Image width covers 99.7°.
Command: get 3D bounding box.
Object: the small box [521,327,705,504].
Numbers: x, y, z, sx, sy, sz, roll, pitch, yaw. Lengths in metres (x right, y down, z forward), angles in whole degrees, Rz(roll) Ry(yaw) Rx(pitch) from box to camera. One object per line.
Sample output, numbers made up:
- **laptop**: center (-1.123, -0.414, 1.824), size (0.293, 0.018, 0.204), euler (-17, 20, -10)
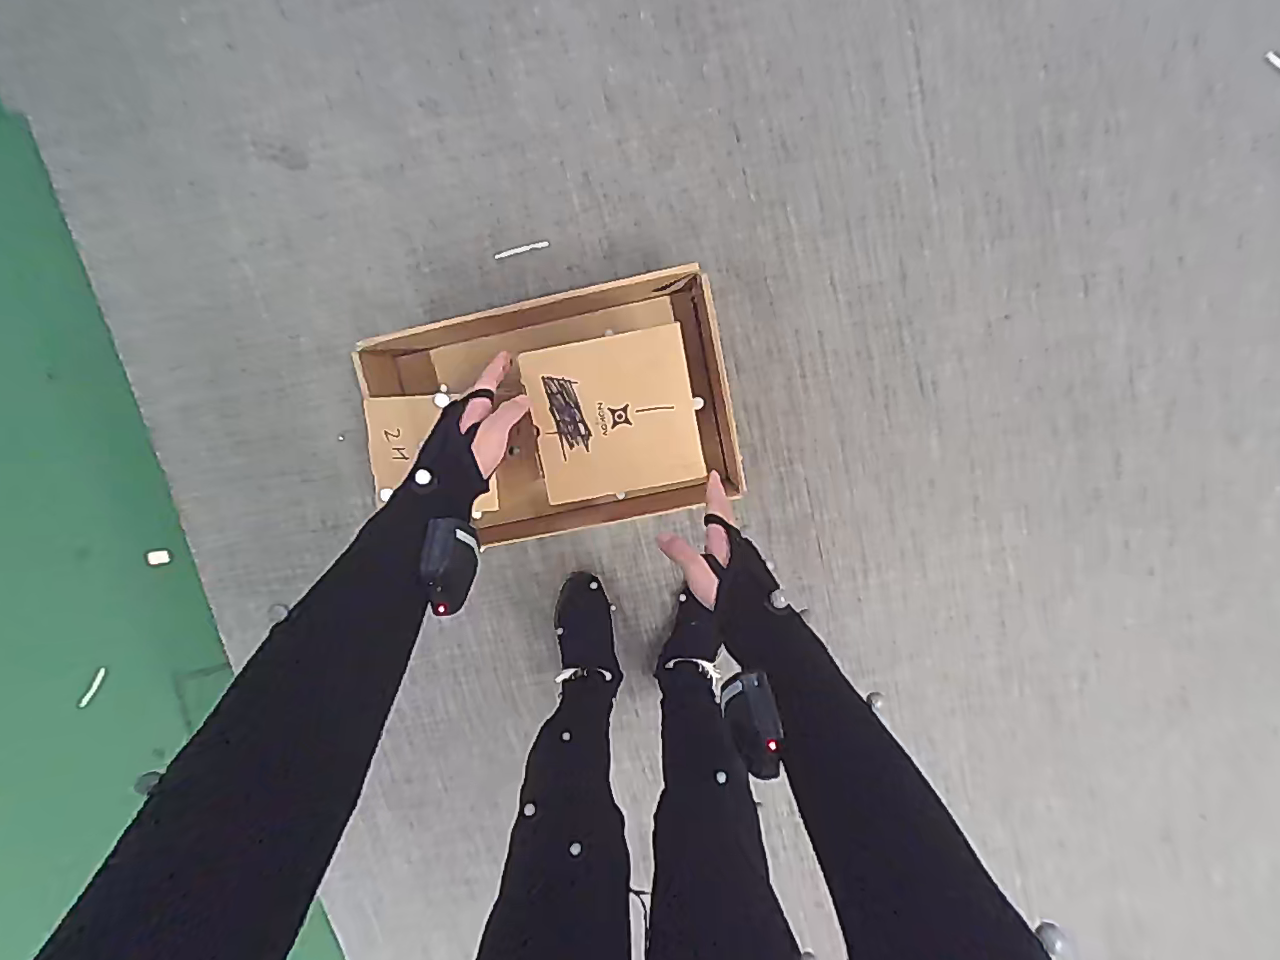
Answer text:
- **small box**: center (-0.024, -0.076, 0.650), size (0.179, 0.176, 0.168), euler (-10, 98, 4)
